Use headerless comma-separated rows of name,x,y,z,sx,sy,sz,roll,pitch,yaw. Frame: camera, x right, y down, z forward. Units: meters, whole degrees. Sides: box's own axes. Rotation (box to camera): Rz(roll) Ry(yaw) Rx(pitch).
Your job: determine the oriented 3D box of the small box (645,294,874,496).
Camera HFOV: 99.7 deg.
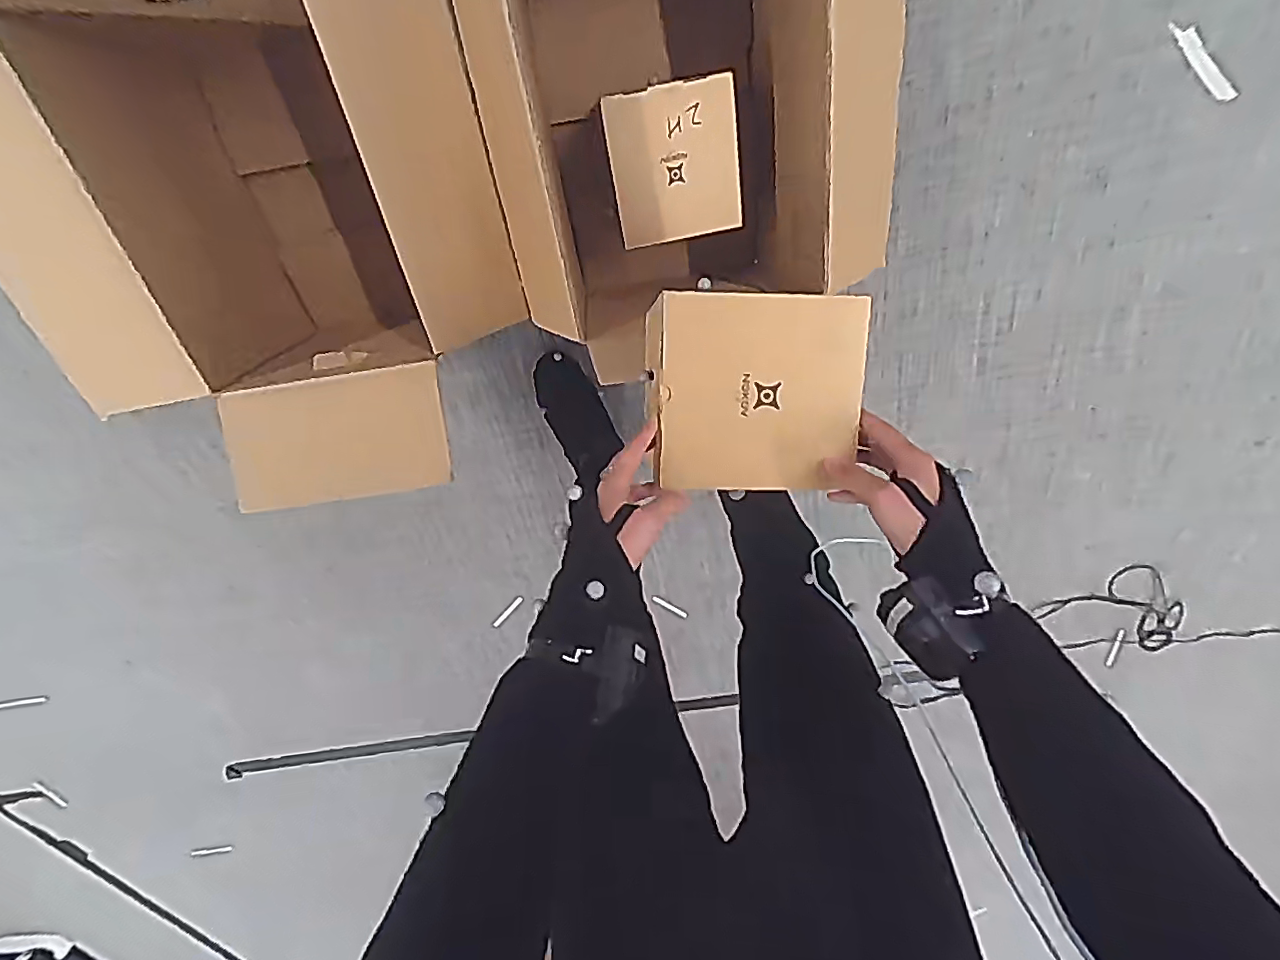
small box,0.098,-0.085,0.526,0.179,0.176,0.168,0,103,-2
